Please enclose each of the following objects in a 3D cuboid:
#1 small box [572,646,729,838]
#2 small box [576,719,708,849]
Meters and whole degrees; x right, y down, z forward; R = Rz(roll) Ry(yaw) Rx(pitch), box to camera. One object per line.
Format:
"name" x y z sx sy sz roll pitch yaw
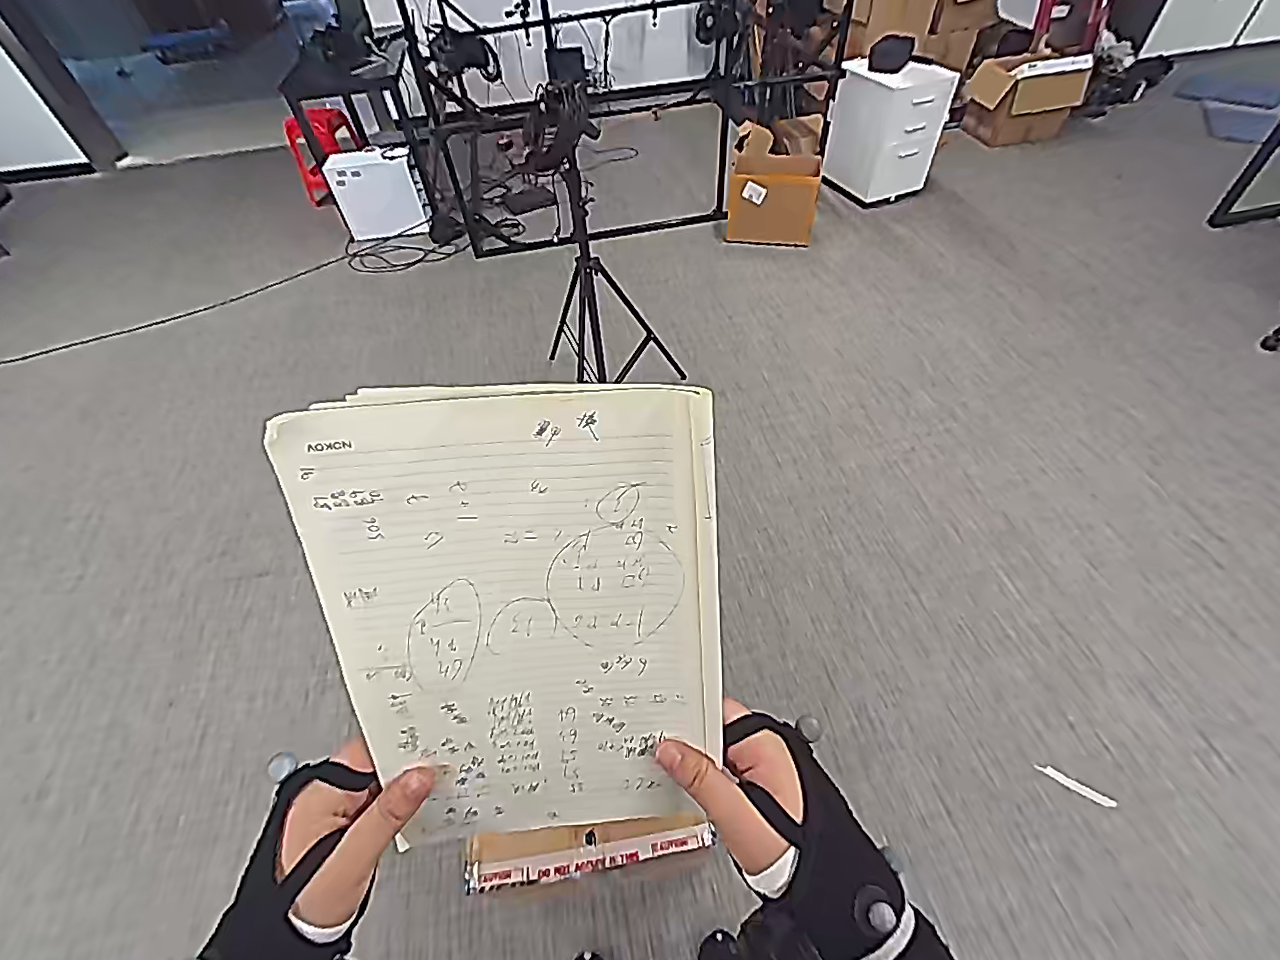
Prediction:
"small box" 0.006 0.343 0.706 0.168 0.176 0.179 -8 52 -6
"small box" 0.005 0.447 0.834 0.179 0.176 0.168 -11 51 -7
